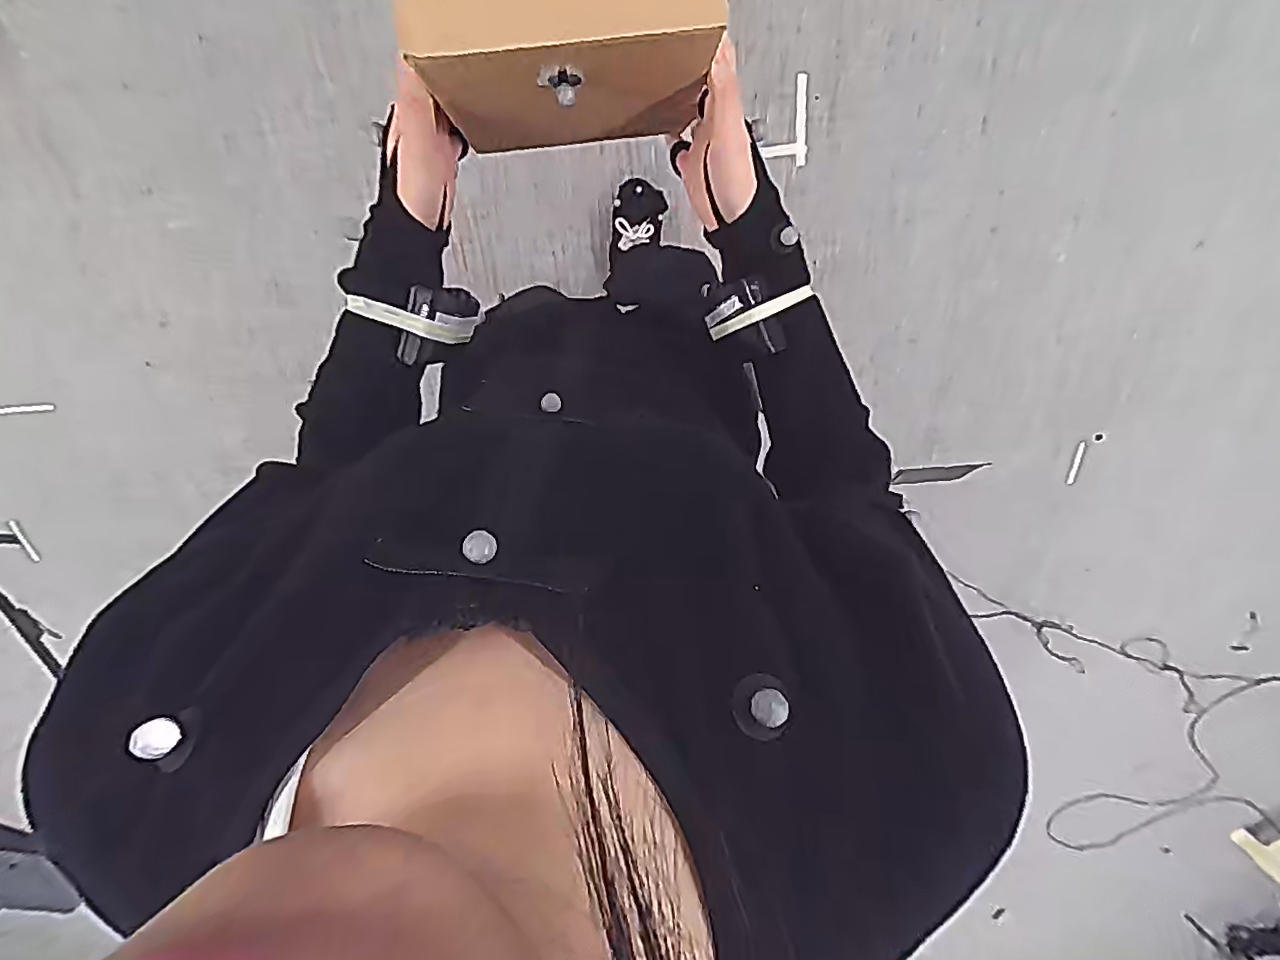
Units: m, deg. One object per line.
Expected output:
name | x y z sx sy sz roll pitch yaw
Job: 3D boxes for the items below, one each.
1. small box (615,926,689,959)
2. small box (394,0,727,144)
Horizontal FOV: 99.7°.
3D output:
small box | 0.035 1.194 1.281 0.179 0.176 0.168 -6 117 1
small box | -0.052 -0.334 0.341 0.179 0.176 0.168 -8 107 -2
